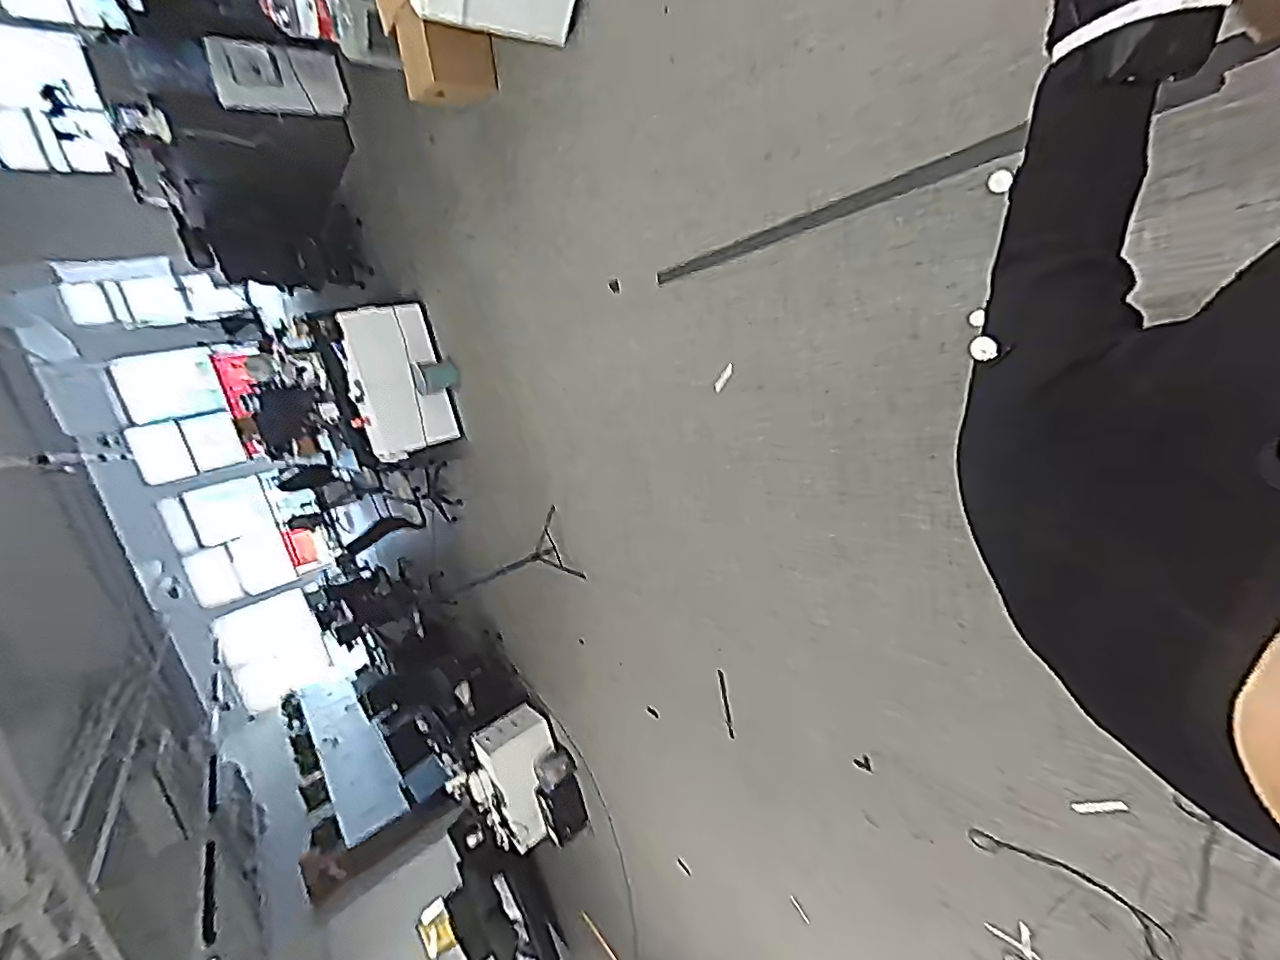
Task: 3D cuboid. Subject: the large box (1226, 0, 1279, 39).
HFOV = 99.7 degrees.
[{"bbox_3d":[0.551,-0.485,0.226,0.408,0.320,0.320,11,117,51],"label":"large box"}]
